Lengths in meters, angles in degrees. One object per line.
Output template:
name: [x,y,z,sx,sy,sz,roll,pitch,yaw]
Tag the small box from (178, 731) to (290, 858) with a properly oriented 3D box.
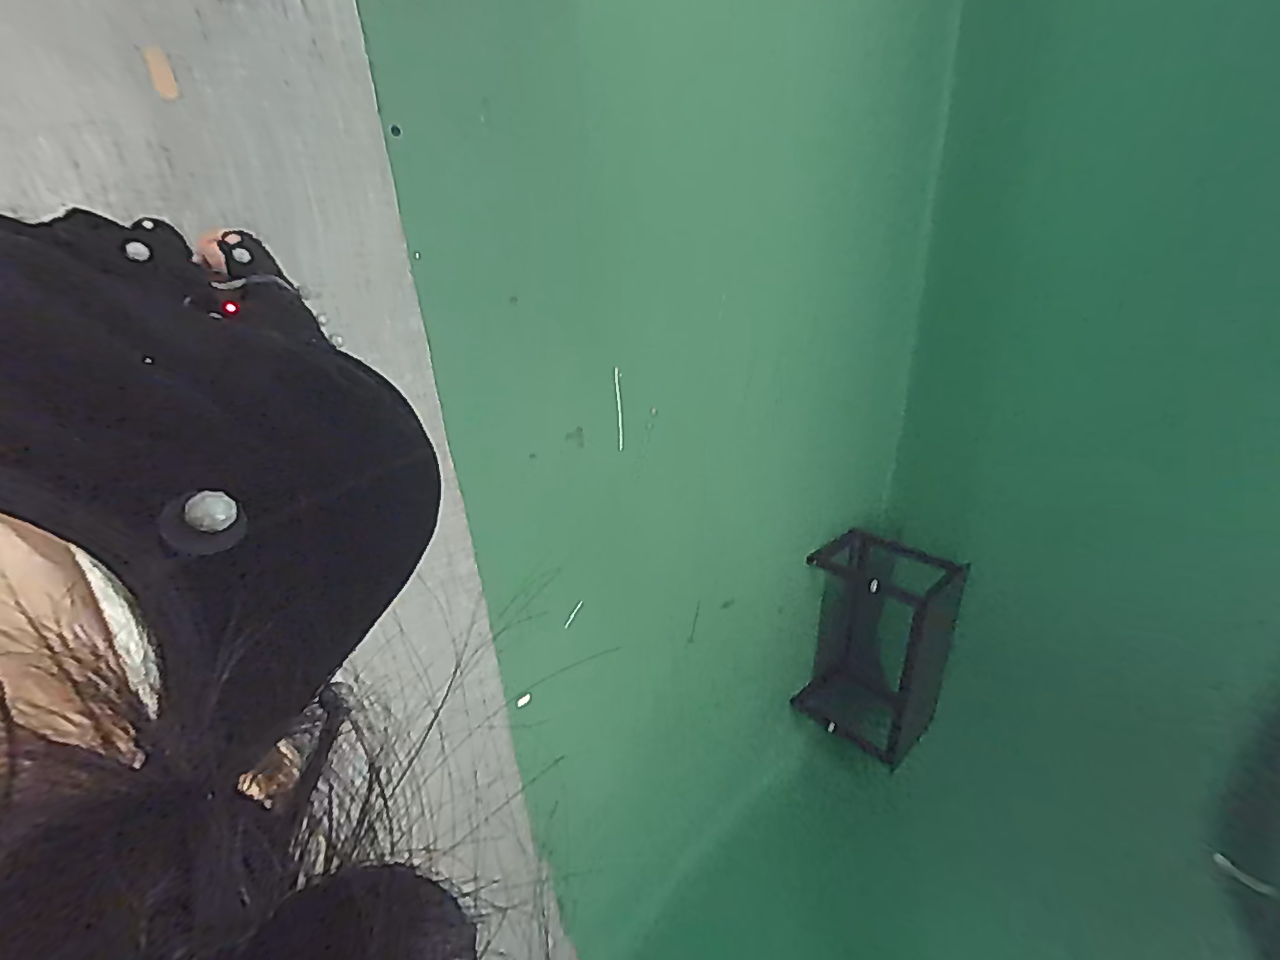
small box: [-1.012,0.771,1.346,0.179,0.176,0.168,-27,121,-32]
